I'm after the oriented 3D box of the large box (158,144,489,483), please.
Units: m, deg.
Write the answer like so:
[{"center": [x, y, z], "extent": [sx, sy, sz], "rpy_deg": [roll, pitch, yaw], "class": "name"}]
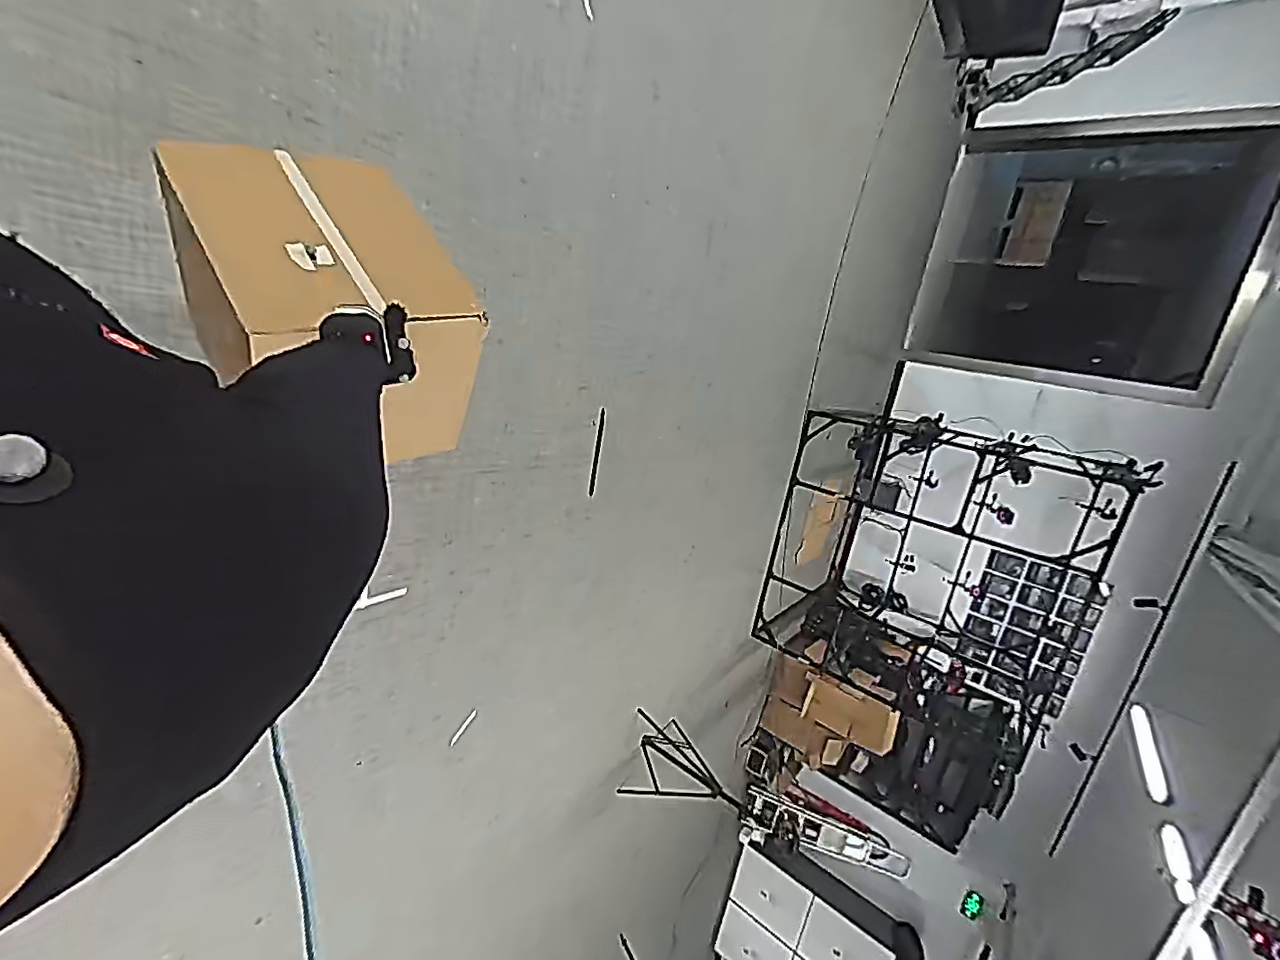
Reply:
[{"center": [-0.516, -0.268, 0.896], "extent": [0.320, 0.408, 0.320], "rpy_deg": [-21, 158, -40], "class": "large box"}]
